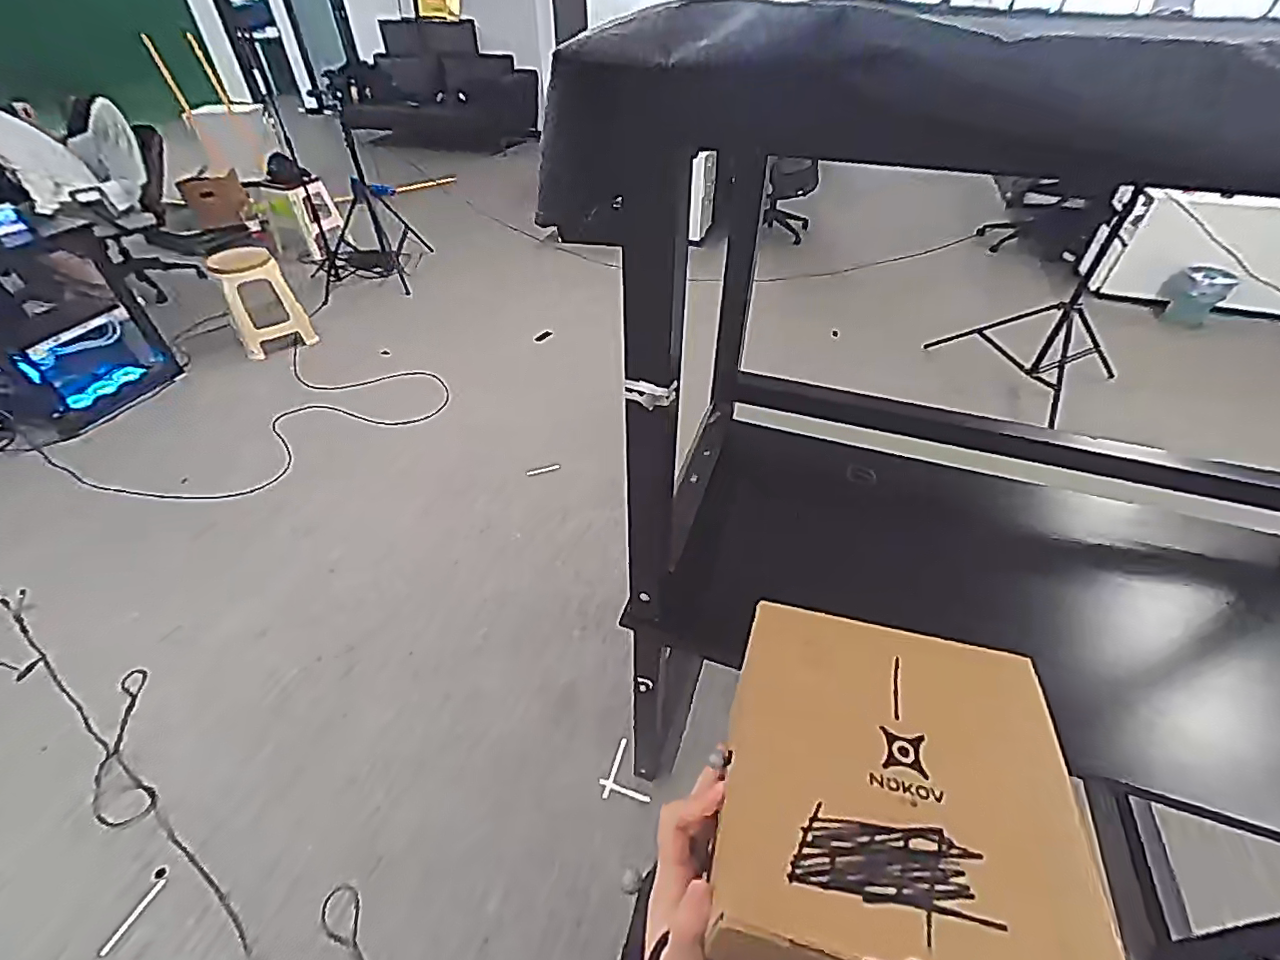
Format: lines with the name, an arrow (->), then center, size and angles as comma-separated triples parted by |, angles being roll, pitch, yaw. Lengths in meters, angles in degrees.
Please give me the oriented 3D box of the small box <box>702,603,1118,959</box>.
small box -> 0.134, 0.210, 0.333 | 0.168, 0.176, 0.179 | 10, 42, 11
